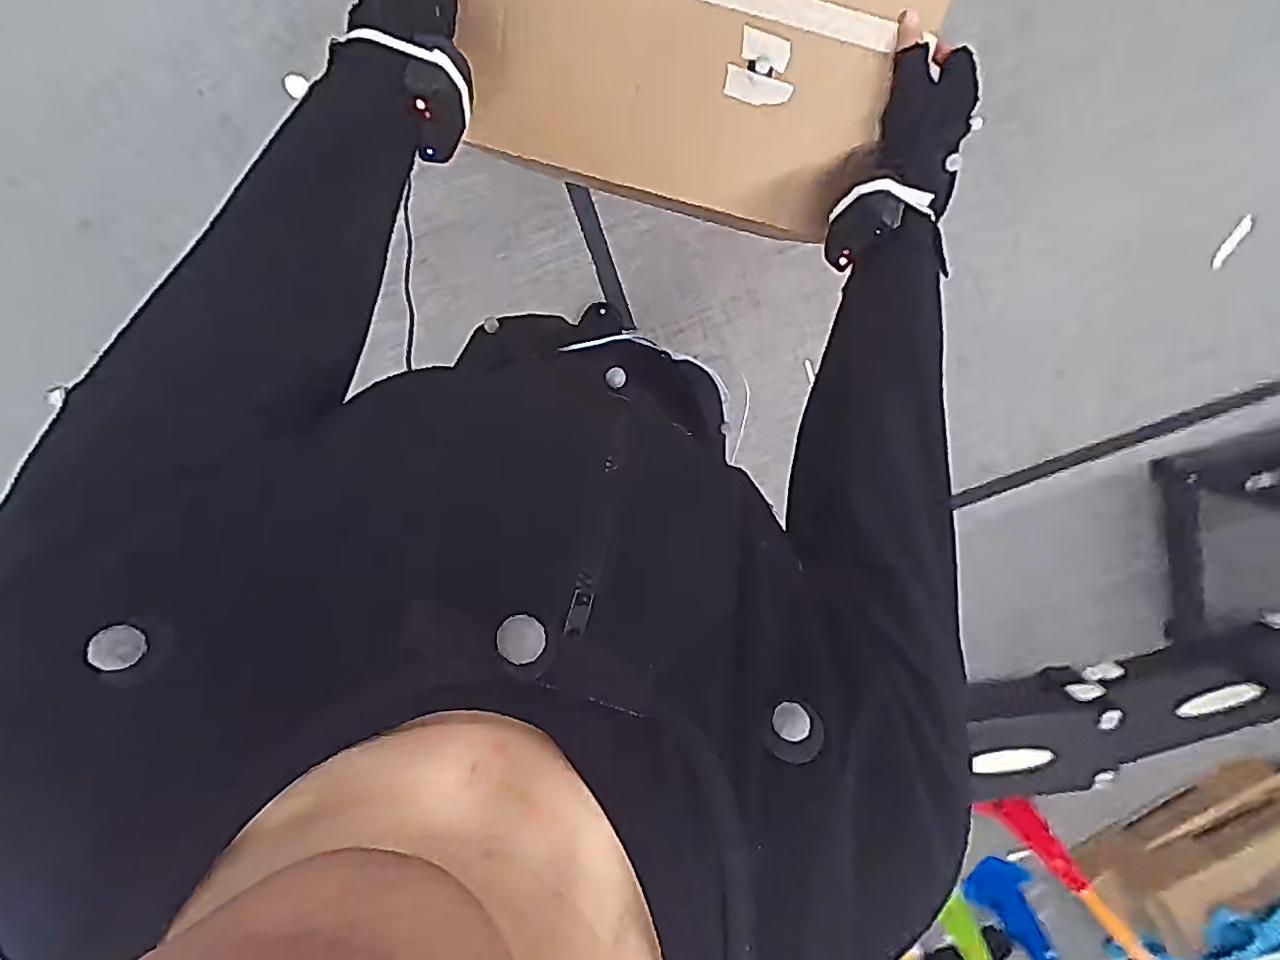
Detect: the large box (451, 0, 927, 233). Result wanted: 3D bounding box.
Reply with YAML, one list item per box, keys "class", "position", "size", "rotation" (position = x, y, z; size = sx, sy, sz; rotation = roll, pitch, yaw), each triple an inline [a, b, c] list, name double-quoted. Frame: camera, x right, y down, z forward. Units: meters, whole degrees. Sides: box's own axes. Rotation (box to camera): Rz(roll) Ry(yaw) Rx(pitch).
- class: "large box"
  position: [0.043, -0.480, 0.593]
  size: [0.408, 0.320, 0.320]
  rotation: [11, 116, -5]
